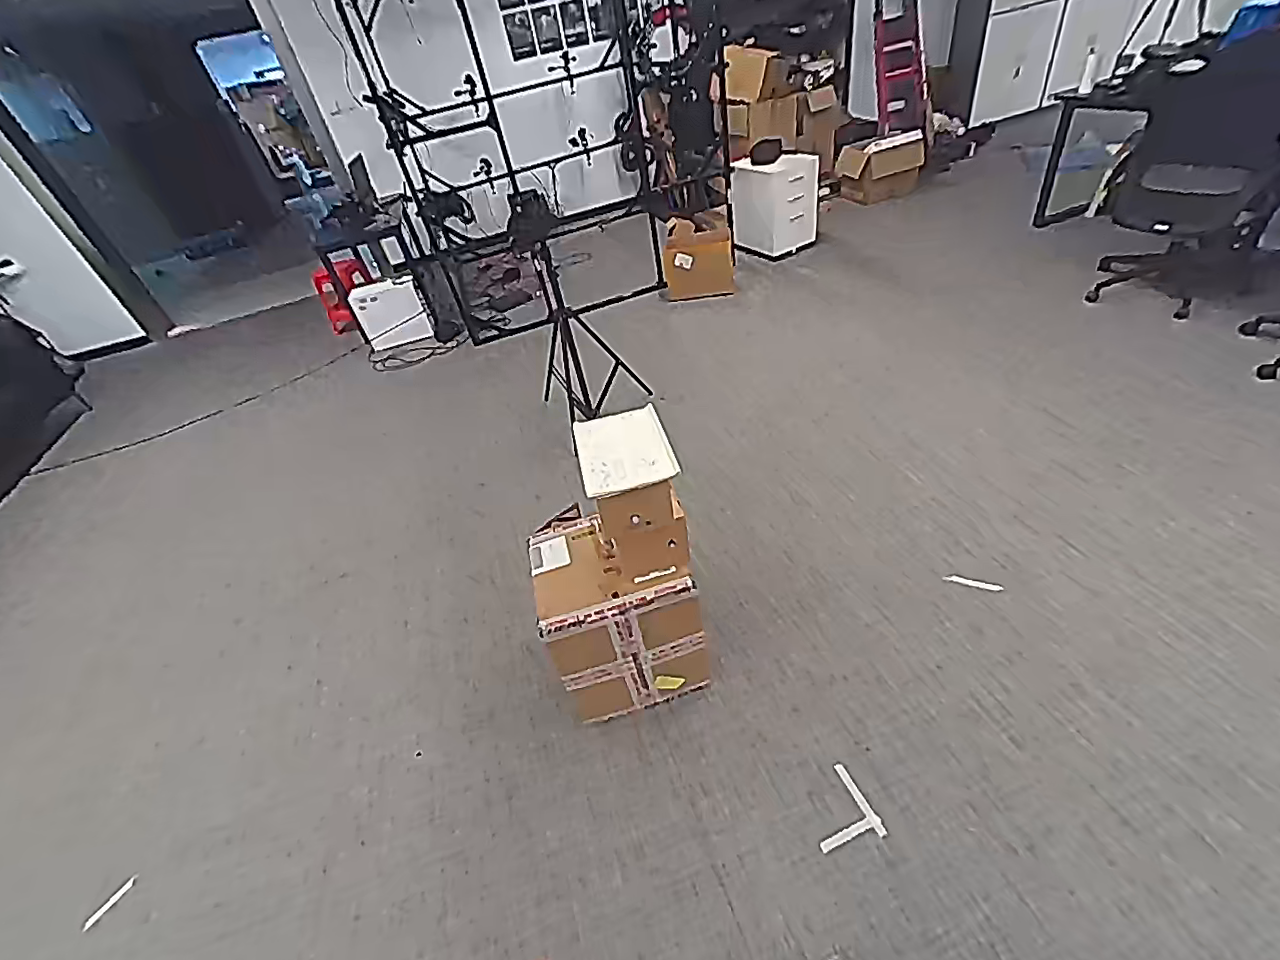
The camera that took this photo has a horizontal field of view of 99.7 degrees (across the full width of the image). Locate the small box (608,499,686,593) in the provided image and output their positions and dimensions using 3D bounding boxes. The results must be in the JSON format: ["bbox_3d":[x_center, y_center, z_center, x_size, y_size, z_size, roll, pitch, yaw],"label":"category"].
[{"bbox_3d":[0.009,0.149,1.337,0.179,0.176,0.168,-16,41,-7],"label":"small box"}]

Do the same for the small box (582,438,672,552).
[{"bbox_3d":[-0.030,0.033,1.226,0.168,0.176,0.179,-13,42,-4],"label":"small box"}]
